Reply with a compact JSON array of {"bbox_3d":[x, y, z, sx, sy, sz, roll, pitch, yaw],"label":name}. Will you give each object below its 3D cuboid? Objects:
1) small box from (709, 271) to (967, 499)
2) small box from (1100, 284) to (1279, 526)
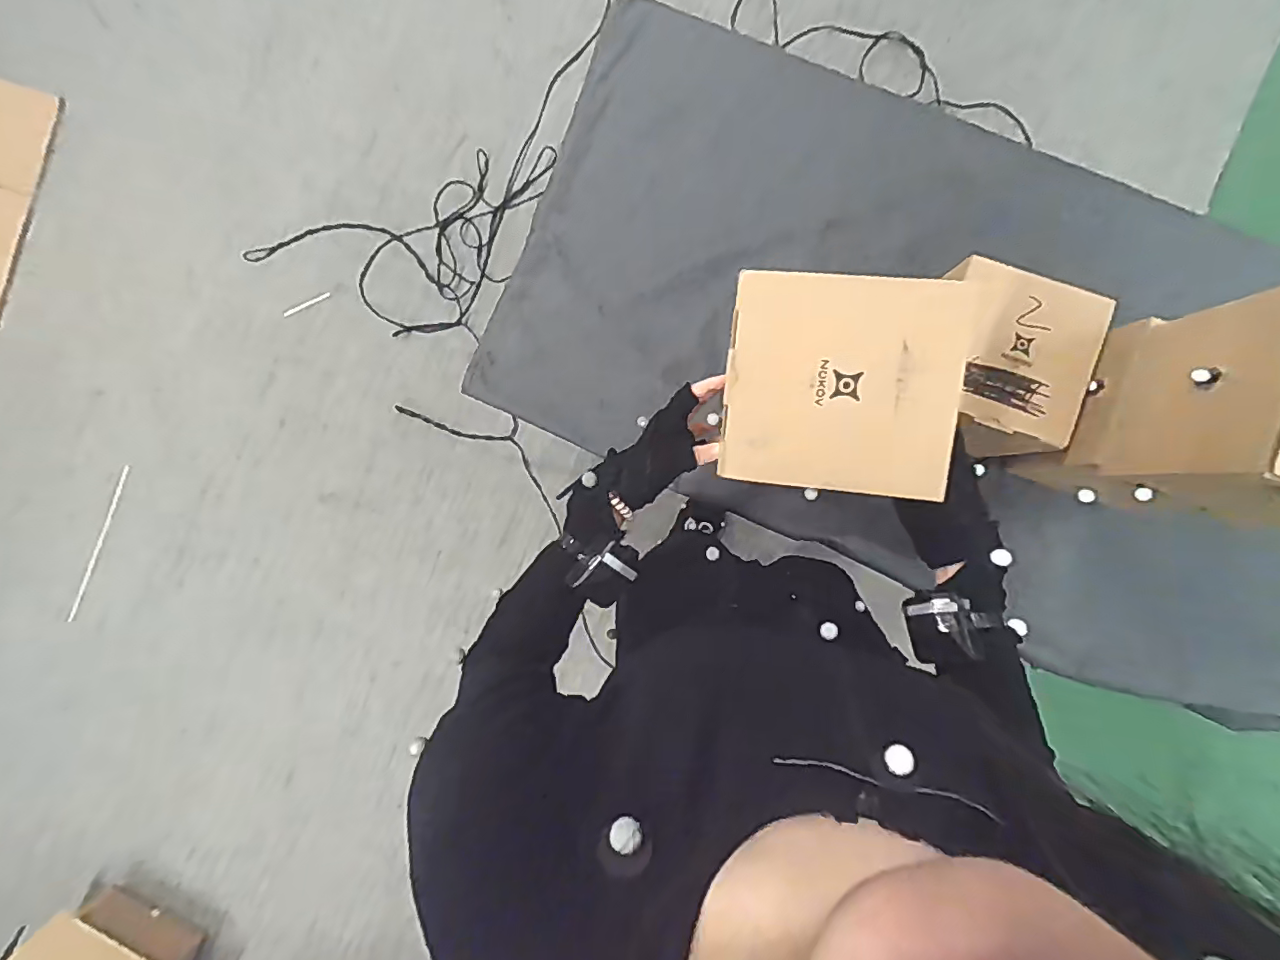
[{"bbox_3d":[0.163,-0.083,0.502,0.179,0.176,0.168,7,98,8],"label":"small box"},{"bbox_3d":[0.594,-0.059,0.508,0.168,0.176,0.179,20,89,2],"label":"small box"}]
